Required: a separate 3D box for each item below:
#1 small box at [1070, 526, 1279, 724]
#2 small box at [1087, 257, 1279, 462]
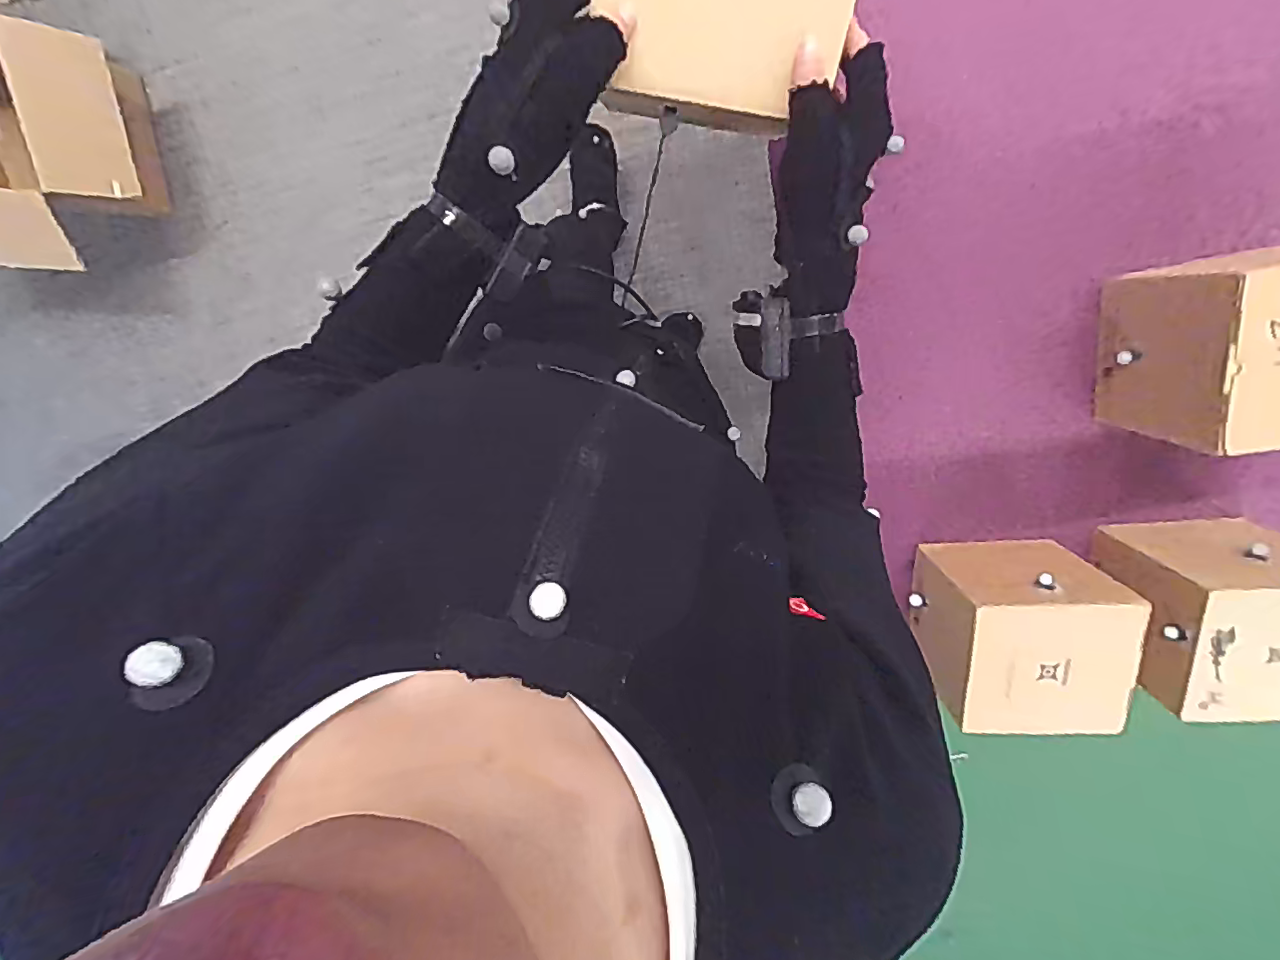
[{"bbox_3d":[0.673,0.162,0.645,0.179,0.176,0.168,-4,108,5],"label":"small box"},{"bbox_3d":[0.614,-0.130,0.551,0.179,0.176,0.168,-9,107,8],"label":"small box"}]
